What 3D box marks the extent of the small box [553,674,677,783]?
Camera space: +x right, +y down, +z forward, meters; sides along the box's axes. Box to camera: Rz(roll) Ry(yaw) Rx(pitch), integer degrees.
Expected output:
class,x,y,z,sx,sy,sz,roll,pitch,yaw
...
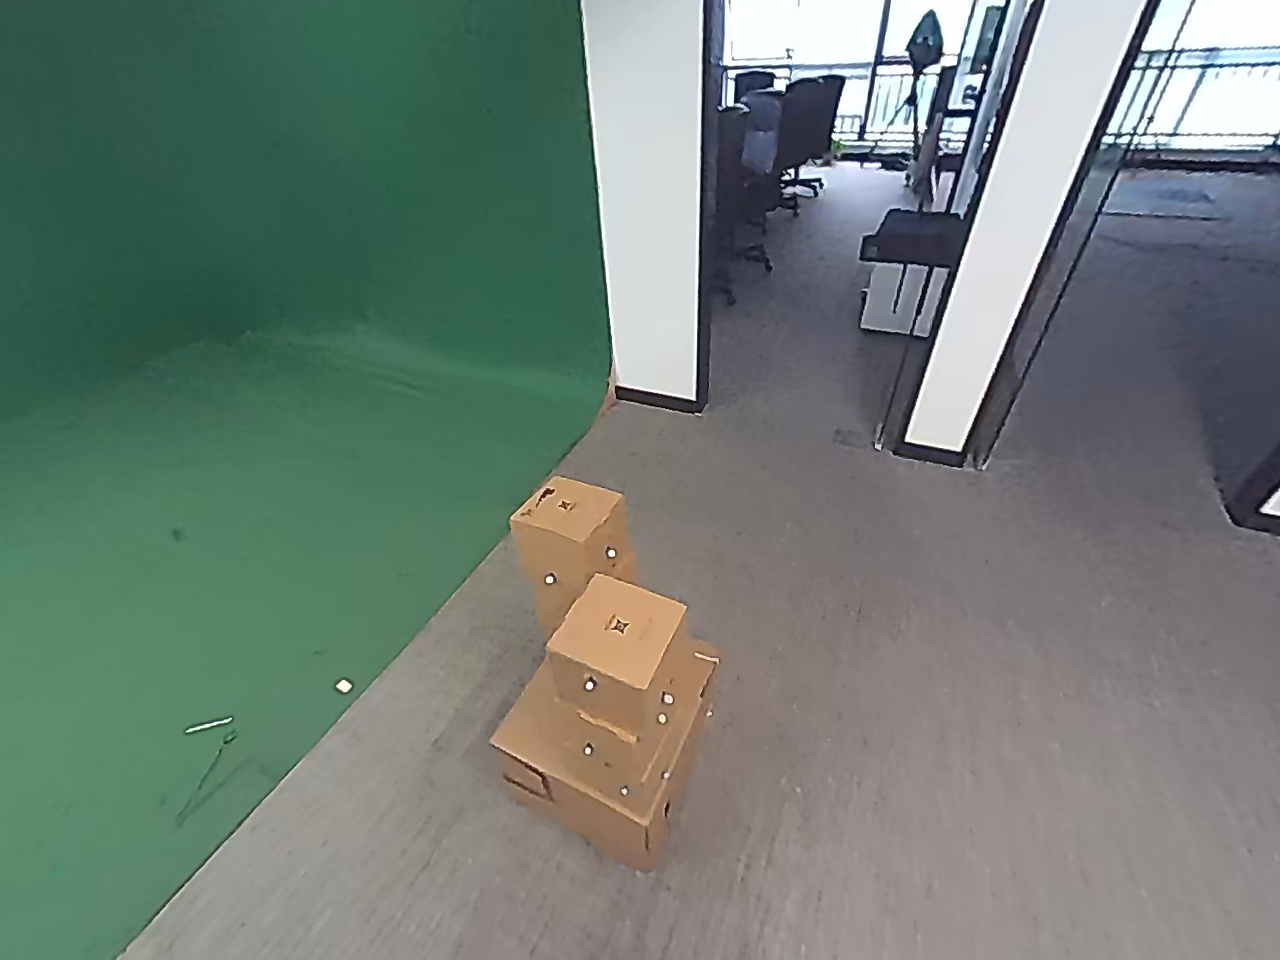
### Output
class,x,y,z,sx,sy,sz,roll,pitch,yaw
small box,-0.044,0.424,1.022,0.168,0.176,0.179,19,44,23

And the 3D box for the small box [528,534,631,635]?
class,x,y,z,sx,sy,sz,roll,pitch,yaw
small box,-0.132,0.258,1.240,0.168,0.176,0.179,16,40,23

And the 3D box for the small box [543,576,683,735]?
class,x,y,z,sx,sy,sz,roll,pitch,yaw
small box,-0.039,0.298,0.917,0.179,0.176,0.168,17,44,20
